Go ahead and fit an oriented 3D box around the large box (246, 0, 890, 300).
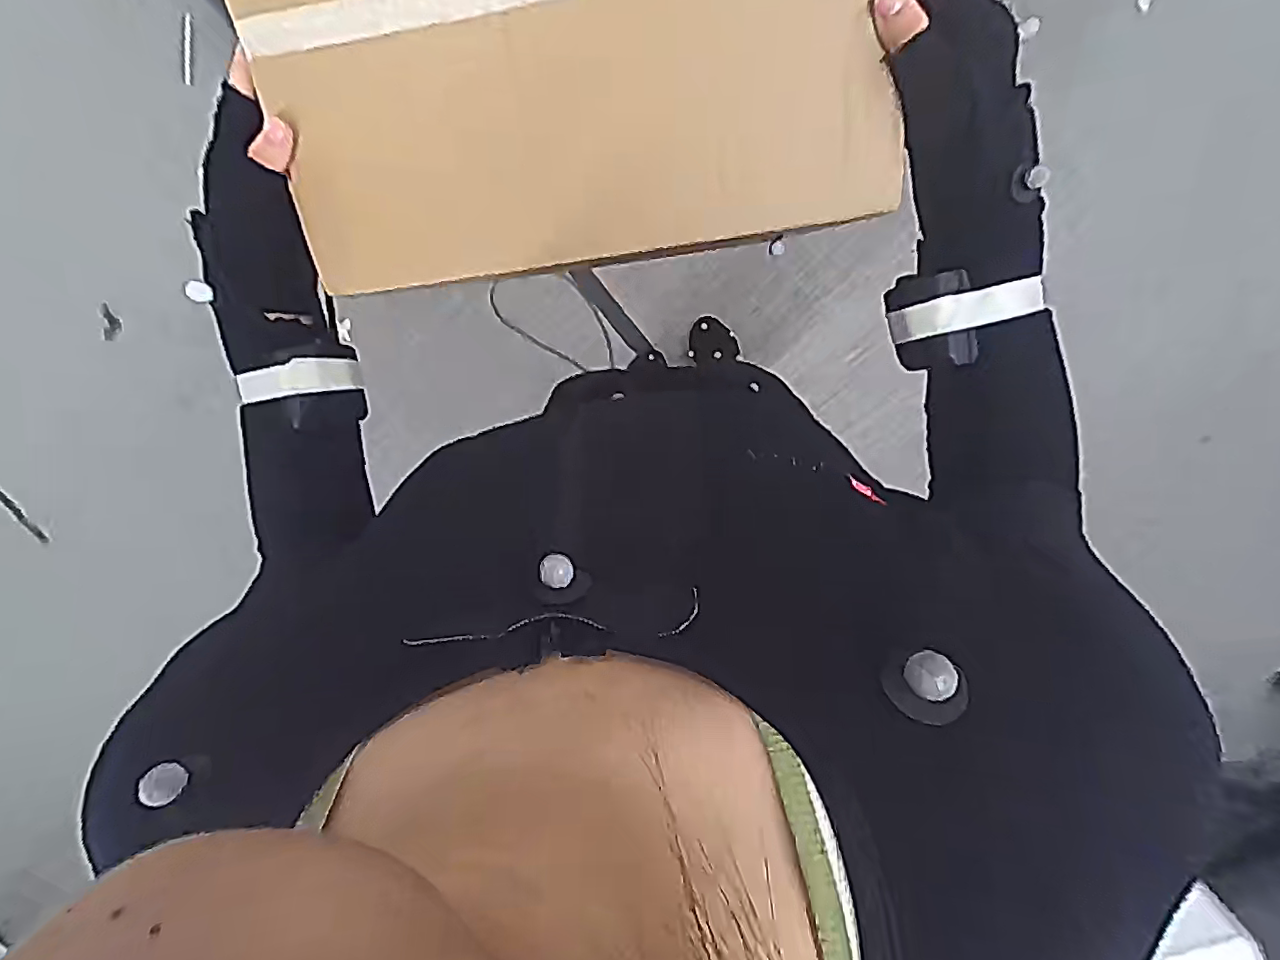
[{"bbox_3d":[-0.041,-0.361,0.470,0.408,0.320,0.320,-7,111,7],"label":"large box"}]
